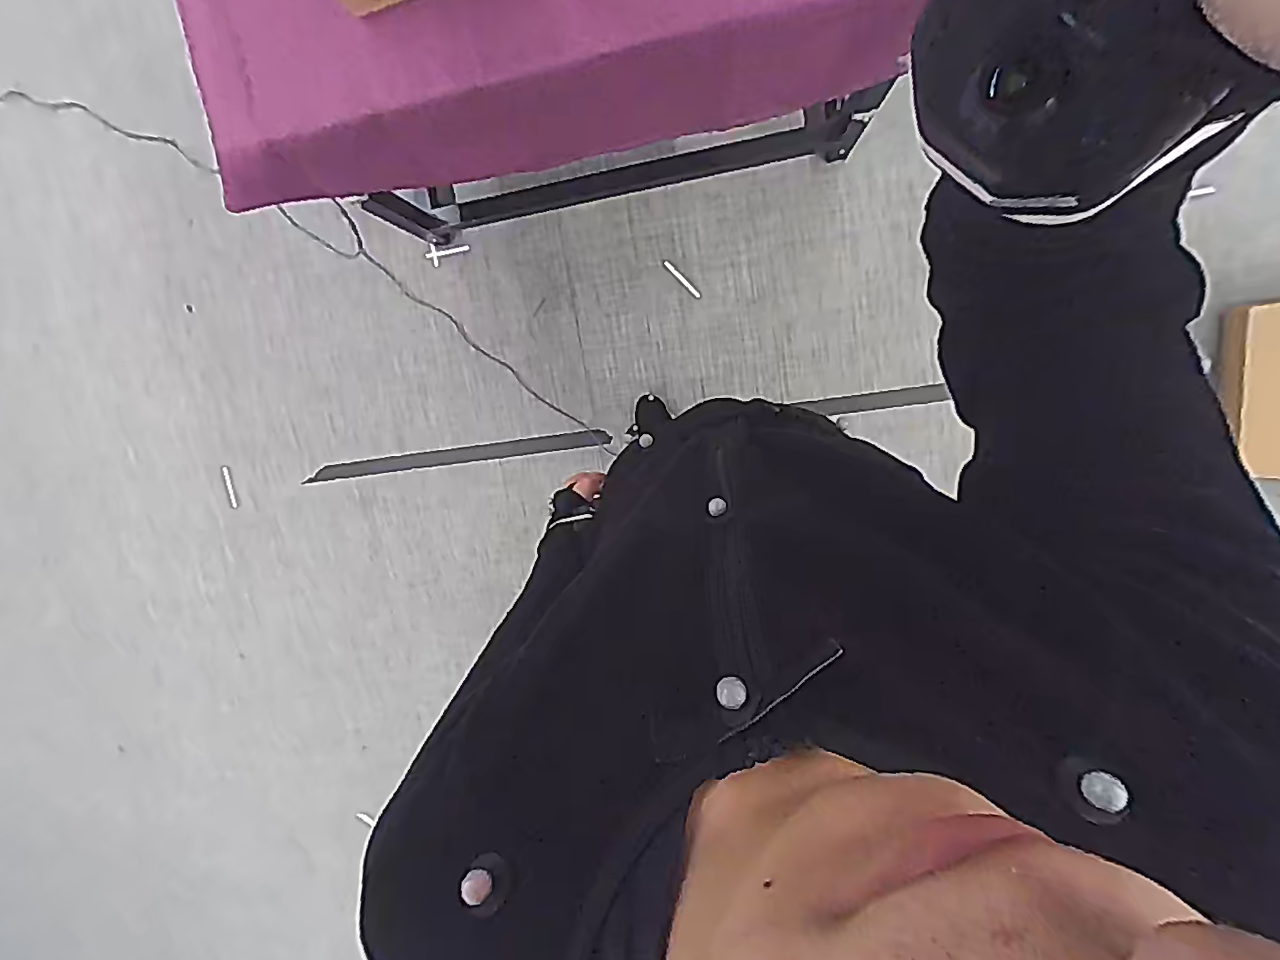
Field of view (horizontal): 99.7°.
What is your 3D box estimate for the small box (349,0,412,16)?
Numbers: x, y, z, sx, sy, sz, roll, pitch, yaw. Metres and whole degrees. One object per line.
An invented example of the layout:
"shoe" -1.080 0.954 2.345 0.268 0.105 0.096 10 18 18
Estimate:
"small box" -0.383 -0.792 0.728 0.168 0.176 0.179 -12 99 9
